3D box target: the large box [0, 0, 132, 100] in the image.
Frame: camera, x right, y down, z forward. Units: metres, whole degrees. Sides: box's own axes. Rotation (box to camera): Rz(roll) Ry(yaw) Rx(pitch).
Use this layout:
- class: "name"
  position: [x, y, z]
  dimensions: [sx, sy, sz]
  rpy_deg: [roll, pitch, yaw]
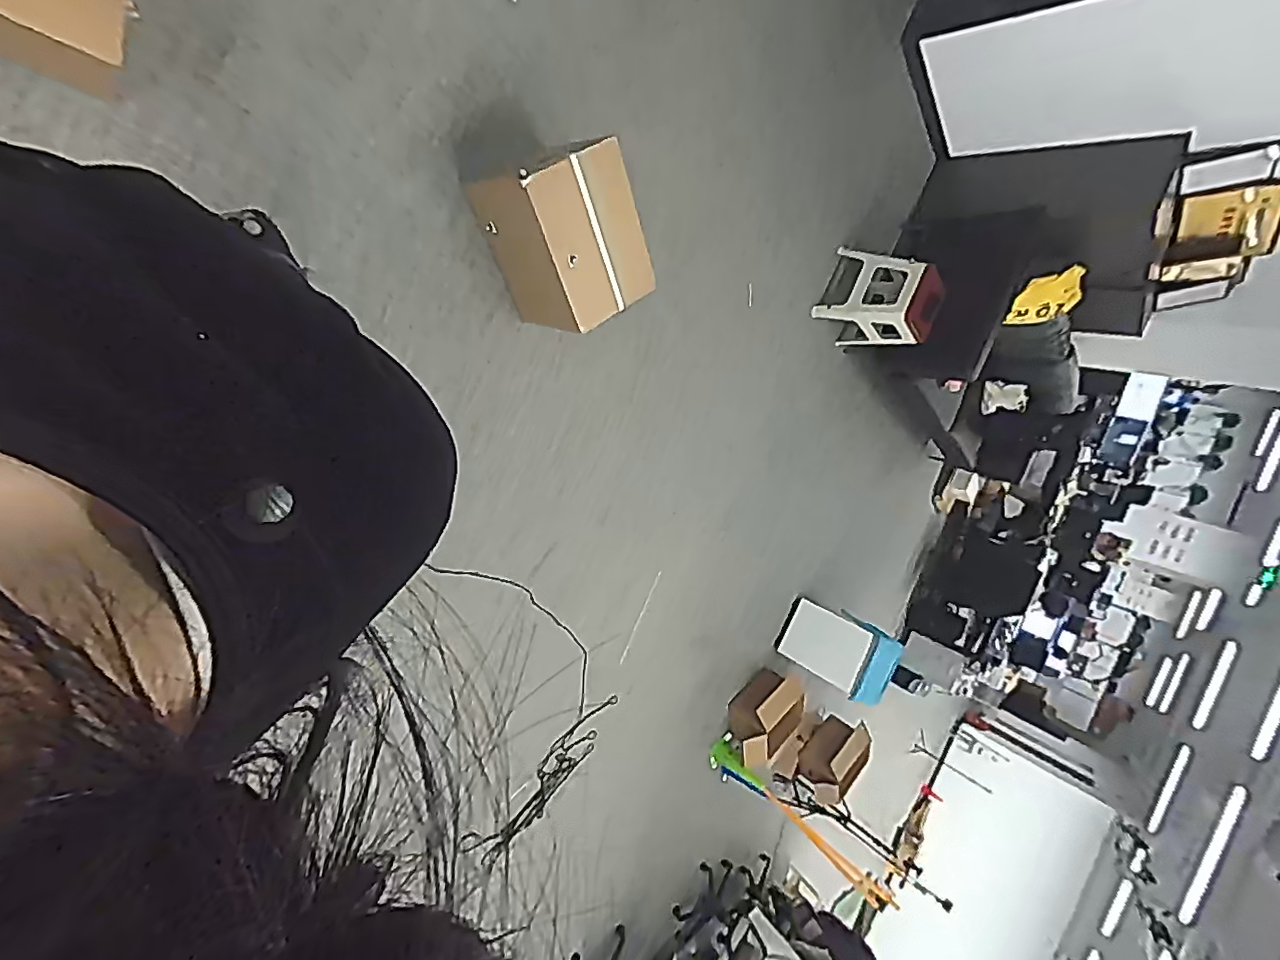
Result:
- class: "large box"
  position: [-0.959, -0.799, 0.726]
  dimensions: [0.408, 0.320, 0.320]
  rpy_deg: [5, 103, -45]
